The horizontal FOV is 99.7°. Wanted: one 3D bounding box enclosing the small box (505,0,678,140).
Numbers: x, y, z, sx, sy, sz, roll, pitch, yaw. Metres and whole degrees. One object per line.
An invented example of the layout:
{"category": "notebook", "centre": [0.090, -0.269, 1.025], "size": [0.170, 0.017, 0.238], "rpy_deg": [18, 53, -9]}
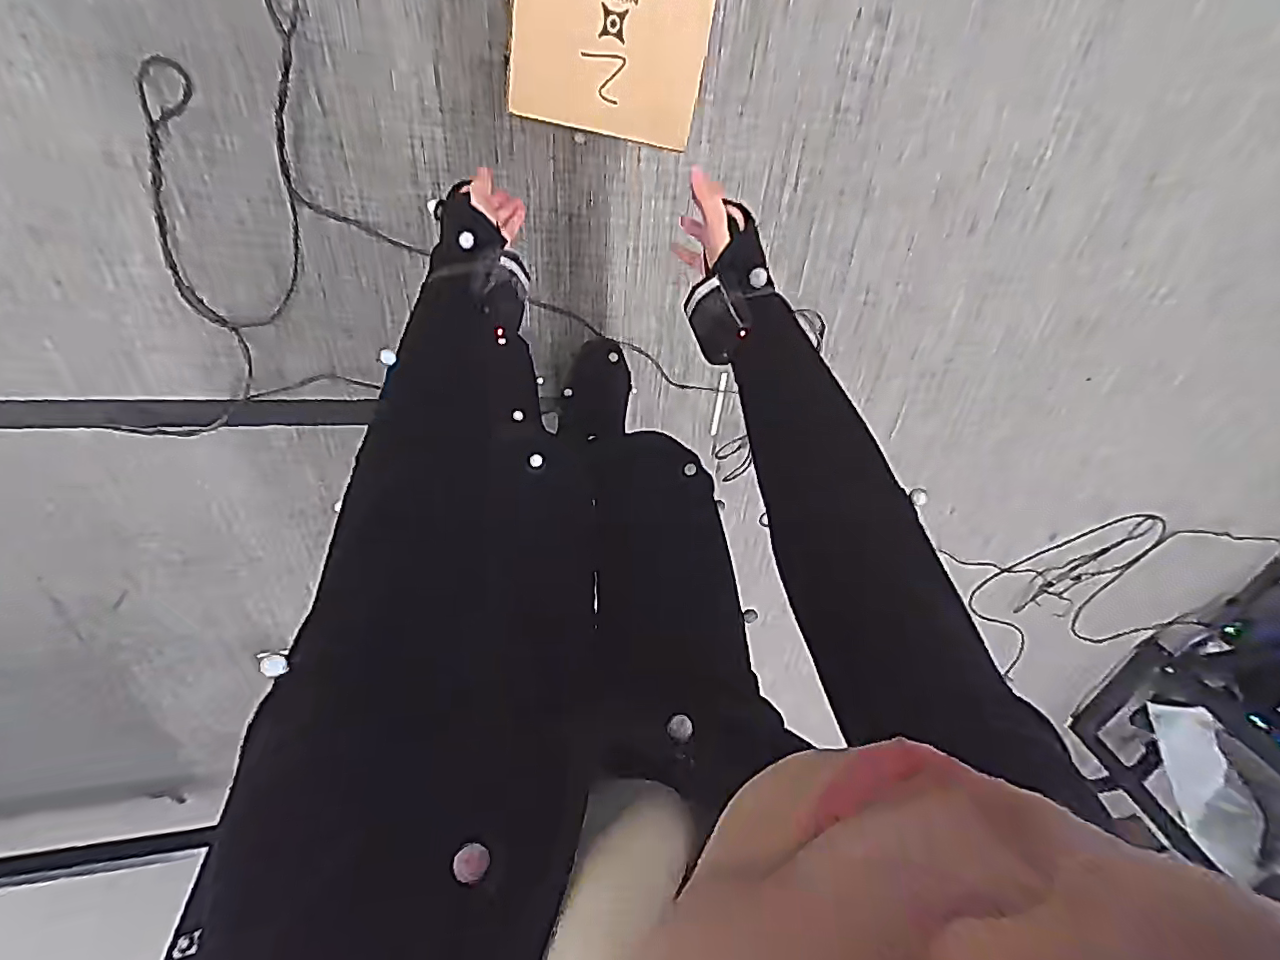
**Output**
{"category": "small box", "centre": [-0.067, -0.518, 0.642], "size": [0.179, 0.176, 0.168], "rpy_deg": [2, 124, -15]}
